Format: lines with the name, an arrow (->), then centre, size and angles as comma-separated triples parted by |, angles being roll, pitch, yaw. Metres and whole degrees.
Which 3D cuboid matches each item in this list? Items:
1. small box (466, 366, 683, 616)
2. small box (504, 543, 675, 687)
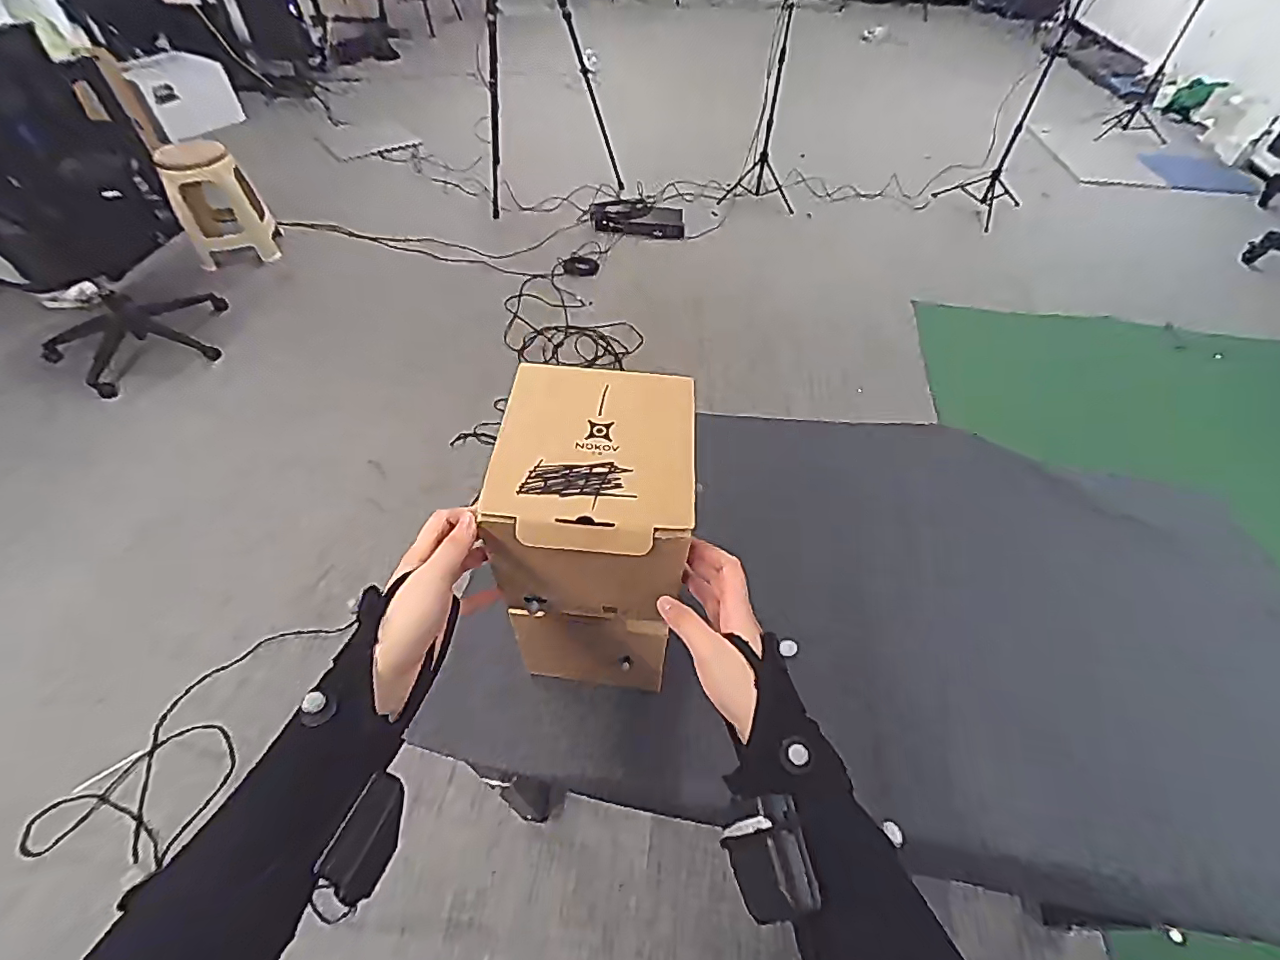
small box -> -0.049, 0.016, 0.518 | 0.168, 0.176, 0.179 | 4, 52, 0
small box -> -0.052, 0.147, 0.686 | 0.179, 0.176, 0.168 | 5, 48, 4
